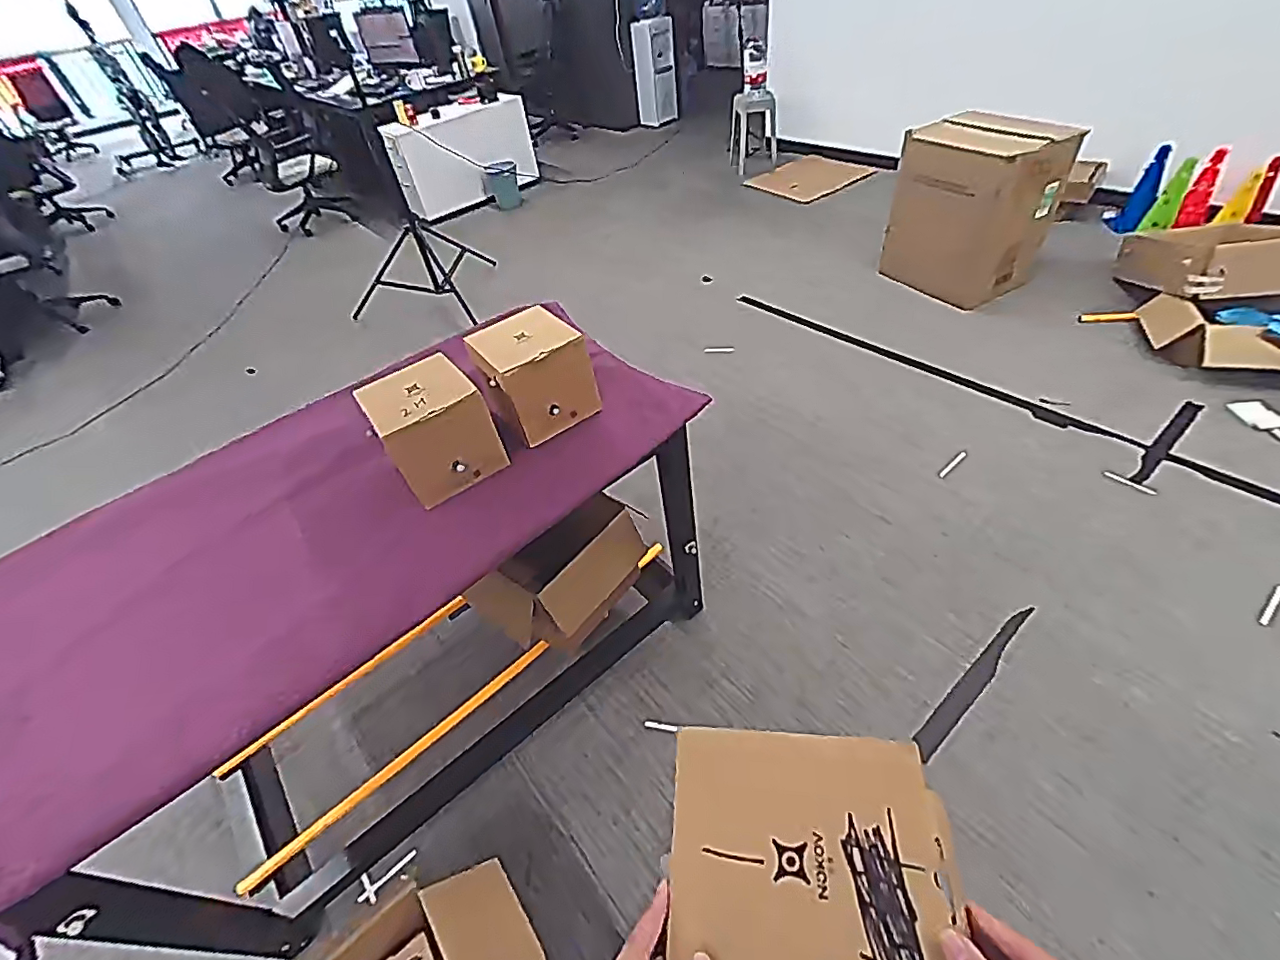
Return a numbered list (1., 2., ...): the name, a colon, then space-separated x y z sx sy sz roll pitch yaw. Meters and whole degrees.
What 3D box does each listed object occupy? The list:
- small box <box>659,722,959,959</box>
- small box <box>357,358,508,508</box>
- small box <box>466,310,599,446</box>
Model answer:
1. small box: 0.114 0.301 0.411 0.179 0.176 0.168 -1 48 10
2. small box: -0.360 -0.083 0.953 0.168 0.176 0.179 -32 48 -20
3. small box: -0.200 -0.194 1.033 0.168 0.176 0.179 -32 48 -20
